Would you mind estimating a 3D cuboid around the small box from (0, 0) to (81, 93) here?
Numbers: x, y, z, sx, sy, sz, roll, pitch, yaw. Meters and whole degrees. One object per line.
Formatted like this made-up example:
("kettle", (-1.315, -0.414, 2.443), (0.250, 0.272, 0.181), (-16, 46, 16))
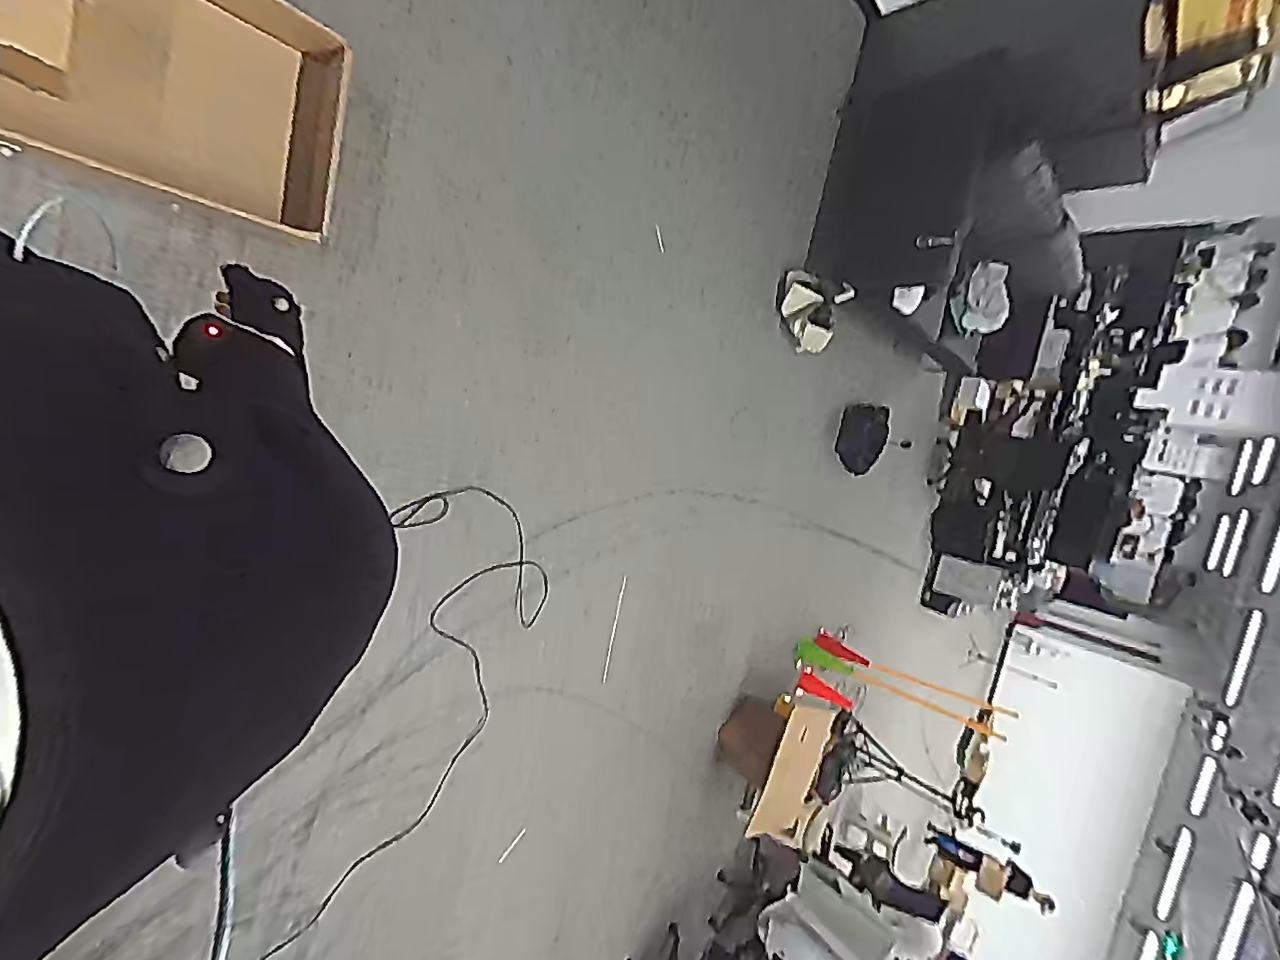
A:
("small box", (-0.950, -0.724, 0.798), (0.168, 0.176, 0.179), (7, 97, -47))
